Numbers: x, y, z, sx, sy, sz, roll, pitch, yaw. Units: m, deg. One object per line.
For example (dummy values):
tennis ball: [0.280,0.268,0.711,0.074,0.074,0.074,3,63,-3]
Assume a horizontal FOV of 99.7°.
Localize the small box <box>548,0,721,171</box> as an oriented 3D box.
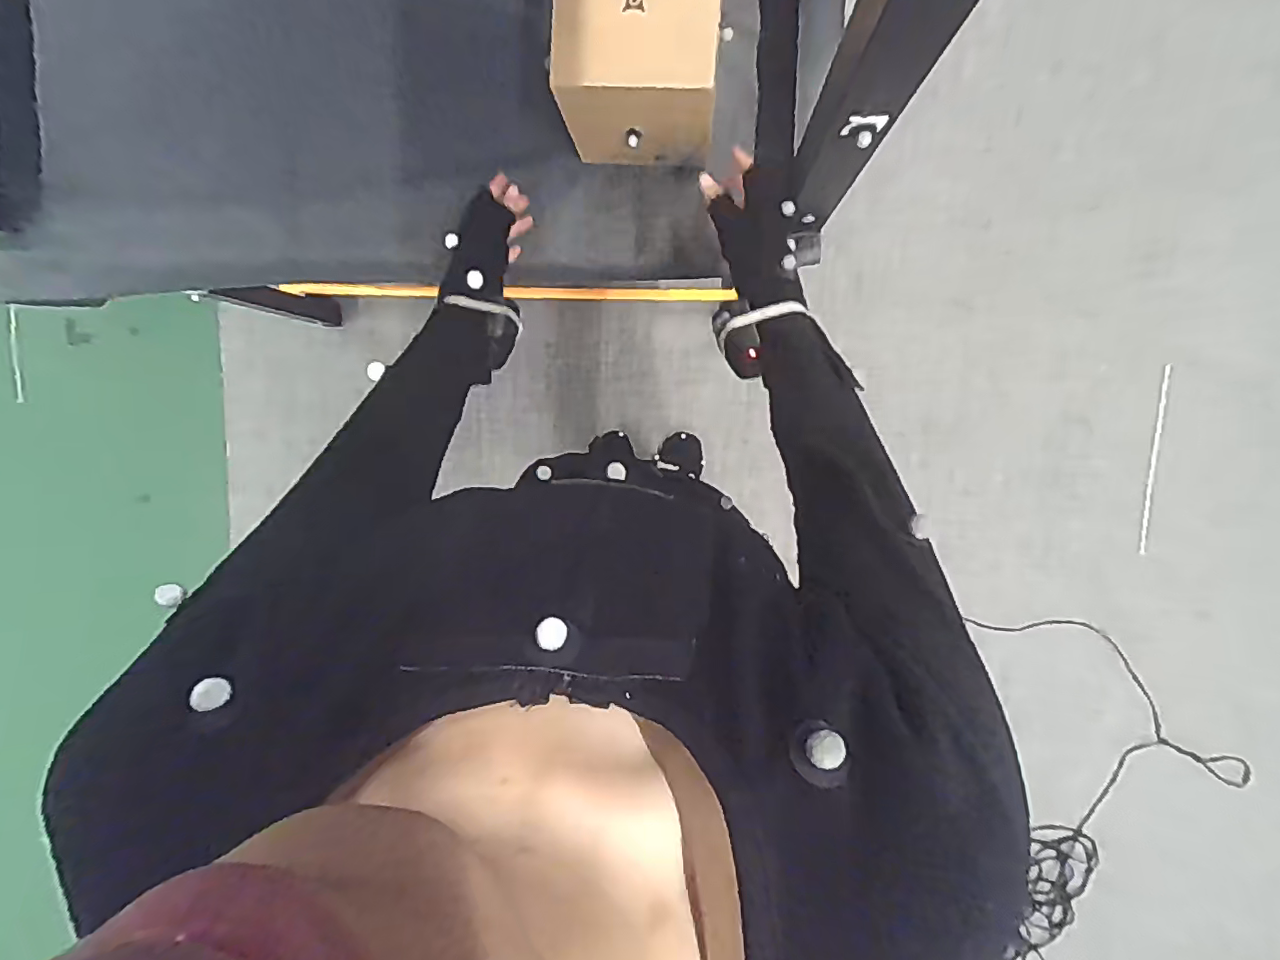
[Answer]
small box: [0.002,-0.477,0.612,0.168,0.176,0.179,5,96,4]
